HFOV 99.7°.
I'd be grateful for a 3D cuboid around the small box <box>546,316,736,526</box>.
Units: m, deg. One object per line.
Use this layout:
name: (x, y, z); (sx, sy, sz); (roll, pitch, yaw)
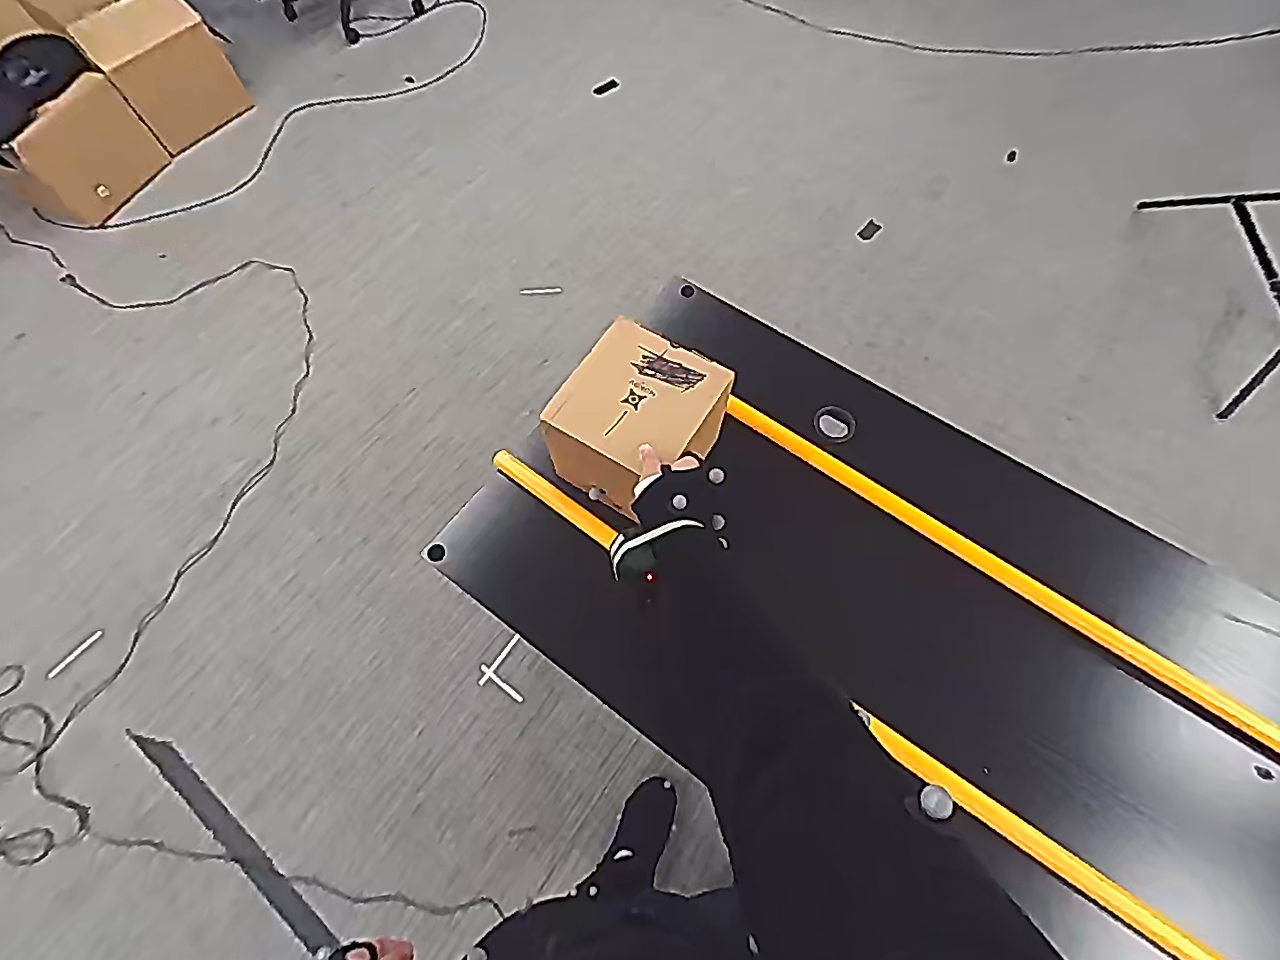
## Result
small box: (0.002, -0.069, 0.706); (0.168, 0.176, 0.179); (30, 70, 13)
